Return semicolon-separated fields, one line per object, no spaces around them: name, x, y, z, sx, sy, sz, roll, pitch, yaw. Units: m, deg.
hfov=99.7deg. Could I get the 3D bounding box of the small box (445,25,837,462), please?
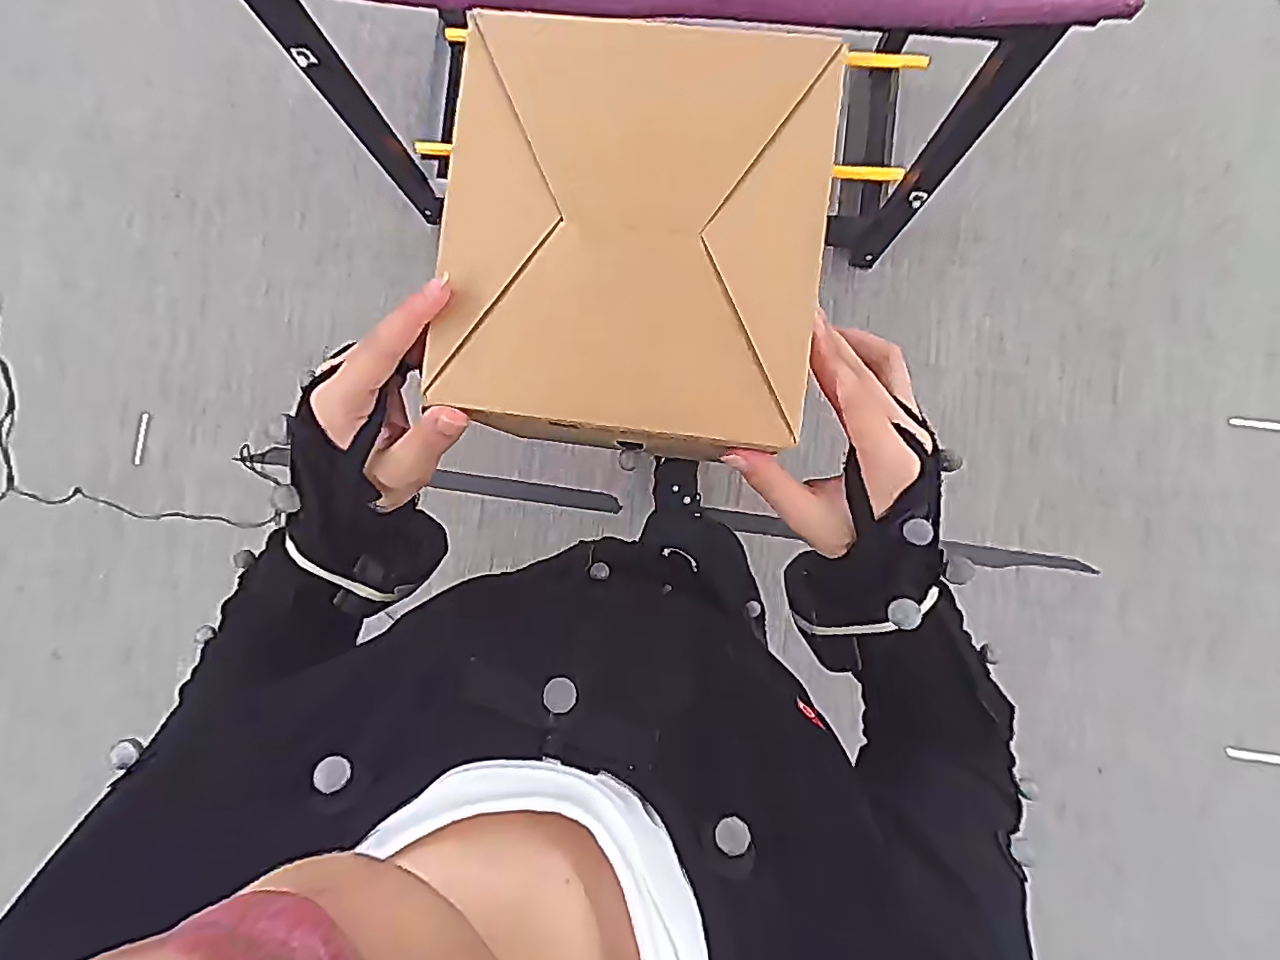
small box;0.002;-0.110;0.317;0.168;0.176;0.179;7;90;3
